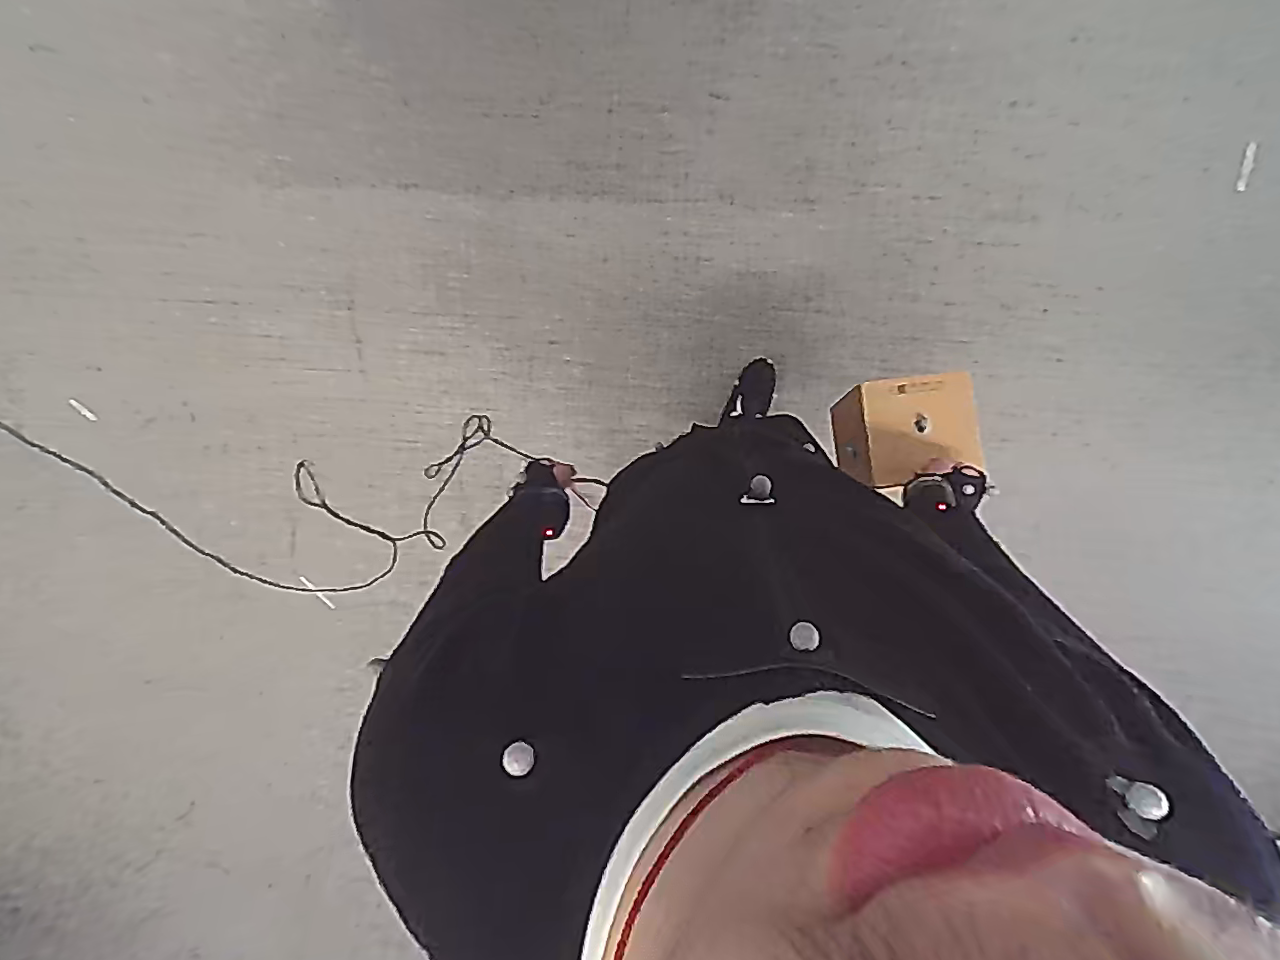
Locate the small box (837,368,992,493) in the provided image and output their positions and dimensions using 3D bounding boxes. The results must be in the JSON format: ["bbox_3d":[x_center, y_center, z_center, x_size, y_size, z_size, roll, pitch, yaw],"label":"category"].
[{"bbox_3d":[0.438,-0.079,0.894,0.168,0.179,0.176,-8,84,6],"label":"small box"}]
